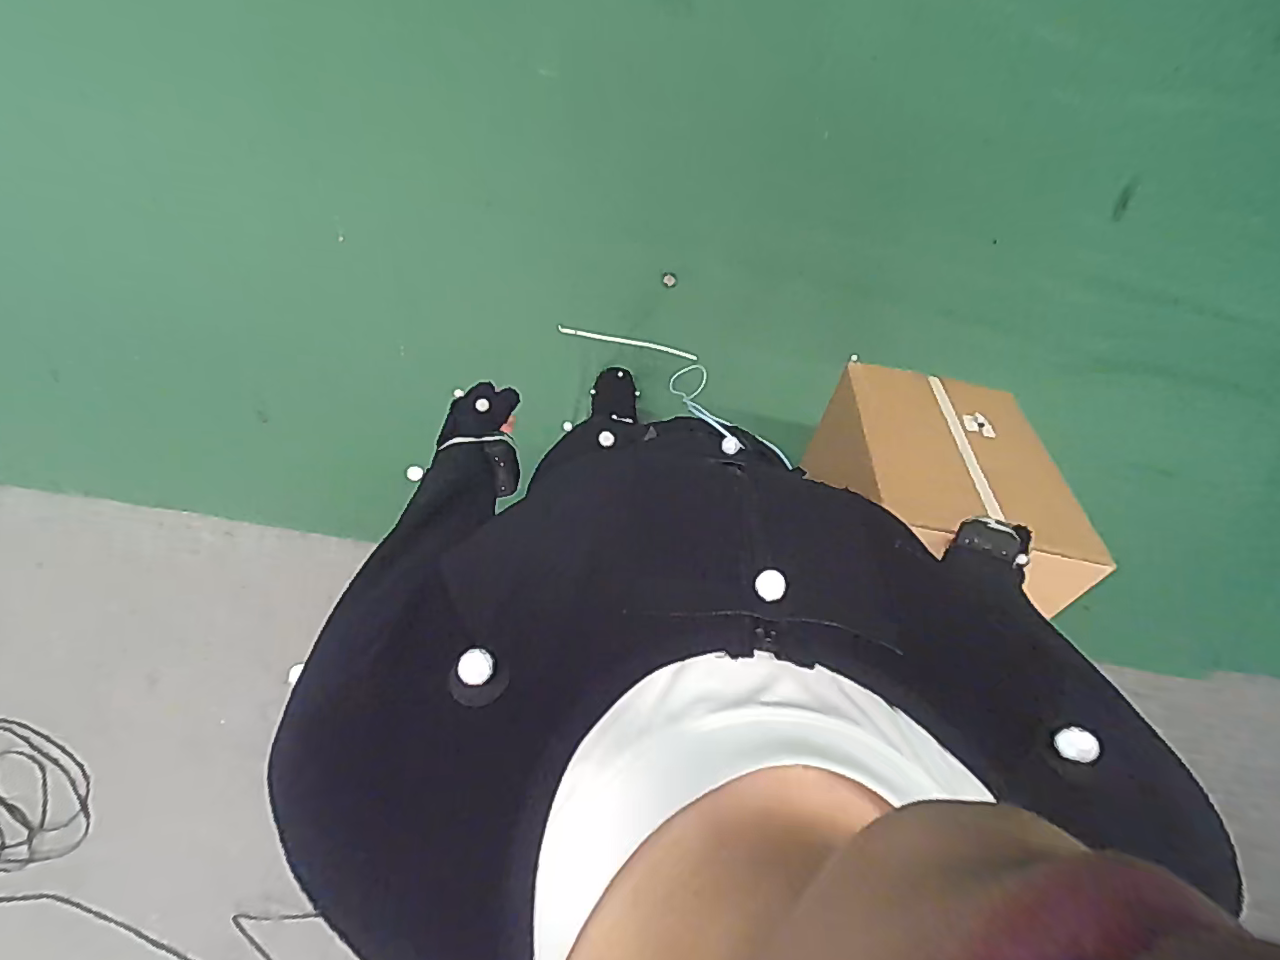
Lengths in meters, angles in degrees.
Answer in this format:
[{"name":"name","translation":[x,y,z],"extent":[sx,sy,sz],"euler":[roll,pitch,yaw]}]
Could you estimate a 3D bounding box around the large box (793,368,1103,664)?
[{"name":"large box","translation":[0.482,0.058,0.971],"extent":[0.320,0.408,0.320],"euler":[12,134,0]}]
